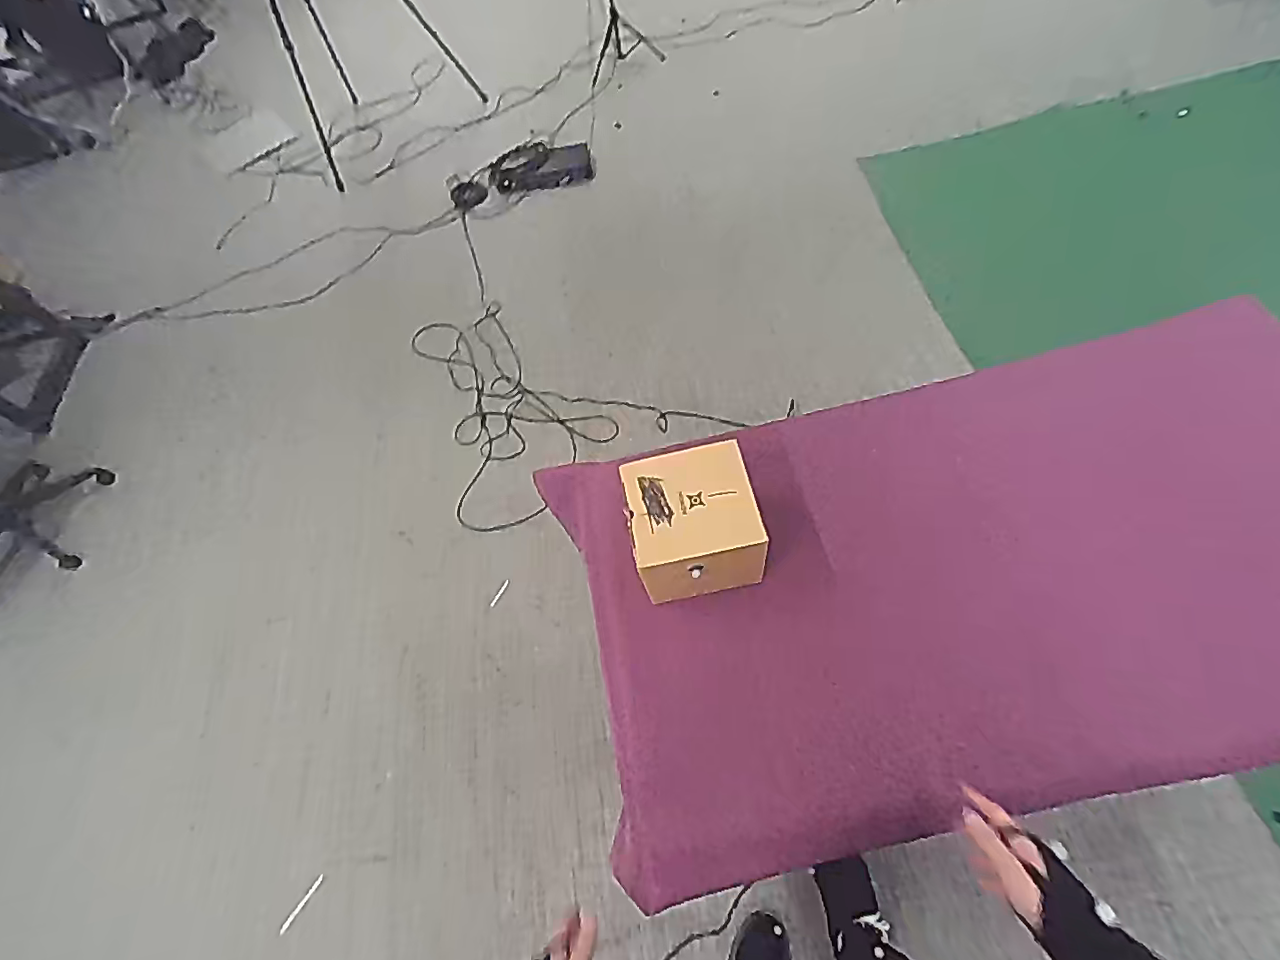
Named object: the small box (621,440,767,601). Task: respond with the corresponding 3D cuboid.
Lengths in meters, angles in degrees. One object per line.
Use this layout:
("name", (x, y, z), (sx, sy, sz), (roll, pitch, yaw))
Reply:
("small box", (0.080, 0.068, 0.803), (0.179, 0.176, 0.168), (-12, 61, 2))
